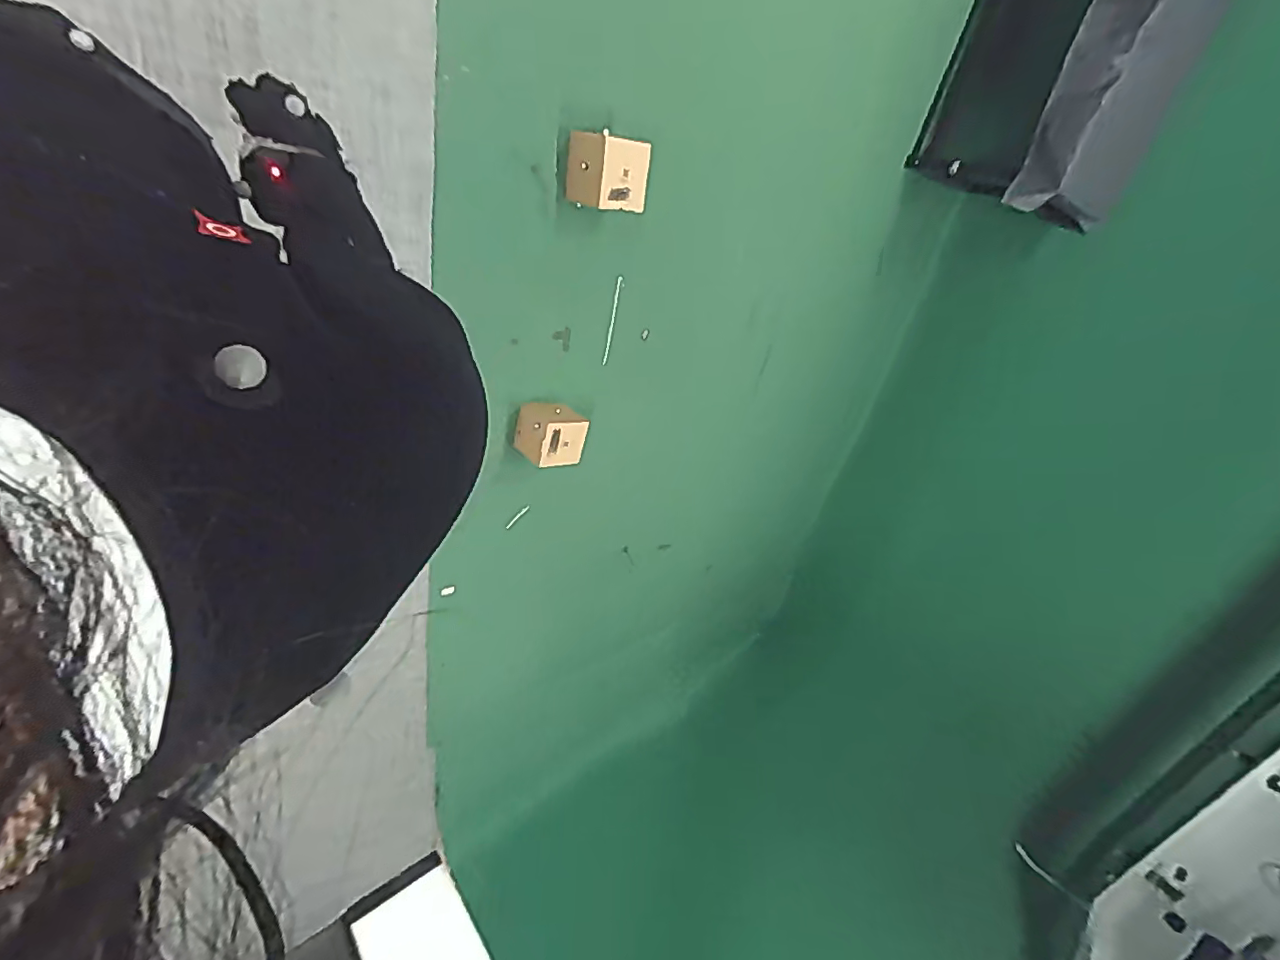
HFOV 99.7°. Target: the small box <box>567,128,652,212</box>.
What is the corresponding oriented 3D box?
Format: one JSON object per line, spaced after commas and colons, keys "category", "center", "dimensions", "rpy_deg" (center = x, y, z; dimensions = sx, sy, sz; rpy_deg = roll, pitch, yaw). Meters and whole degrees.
{"category": "small box", "center": [-0.091, -0.881, 1.539], "dimensions": [0.168, 0.176, 0.179], "rpy_deg": [-18, 130, -39]}
